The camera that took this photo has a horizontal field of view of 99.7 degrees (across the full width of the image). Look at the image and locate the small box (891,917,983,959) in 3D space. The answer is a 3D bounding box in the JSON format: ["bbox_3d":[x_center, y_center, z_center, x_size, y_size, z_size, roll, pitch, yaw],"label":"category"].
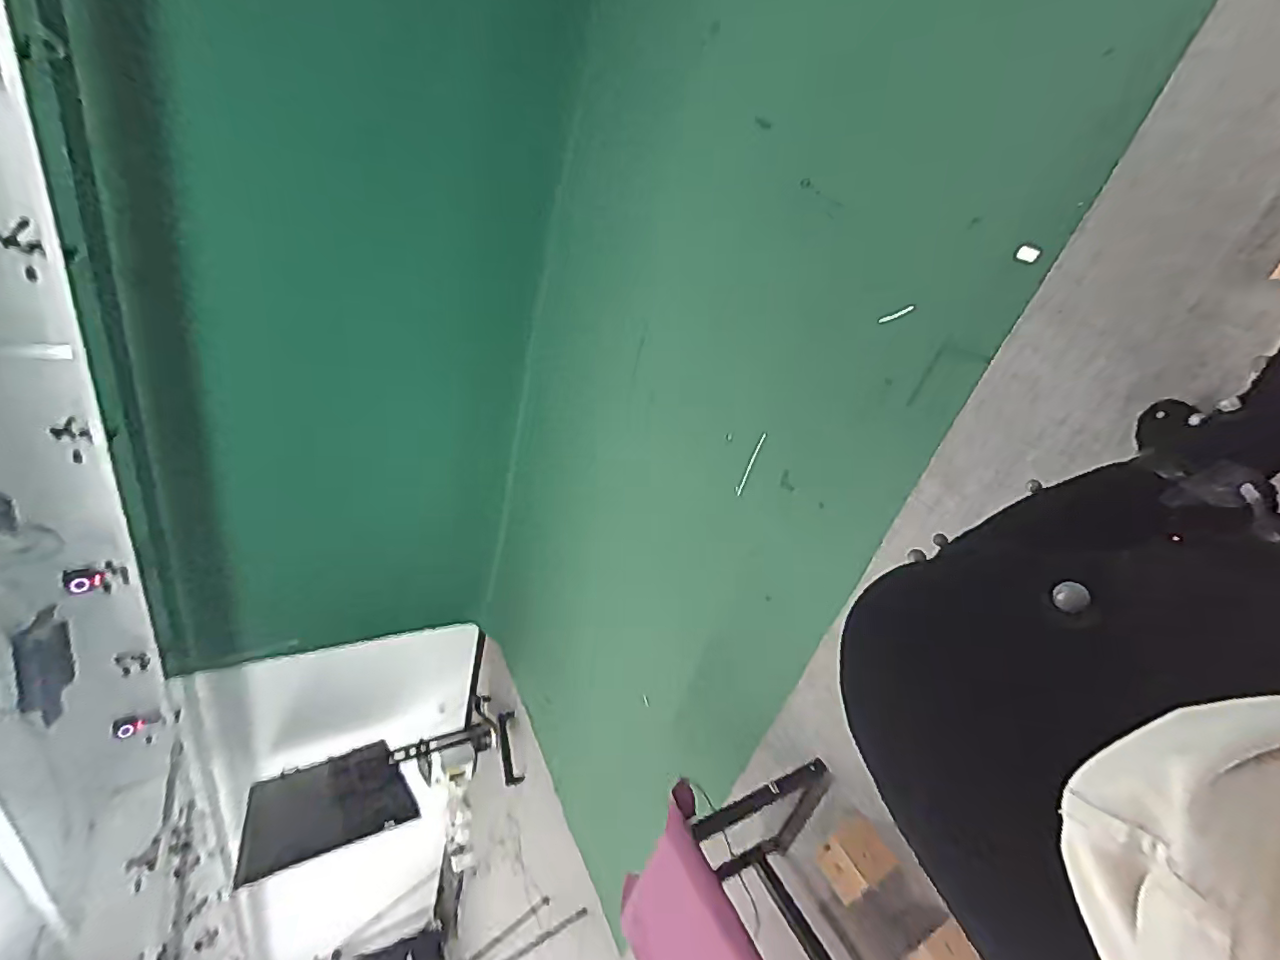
[{"bbox_3d":[0.907,1.463,1.622,0.179,0.176,0.168,48,132,43],"label":"small box"}]

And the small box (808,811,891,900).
[{"bbox_3d":[0.730,1.298,1.880,0.179,0.176,0.168,51,132,42],"label":"small box"}]

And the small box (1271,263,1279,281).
[{"bbox_3d":[1.259,-0.399,0.916,0.168,0.176,0.179,48,130,44],"label":"small box"}]
